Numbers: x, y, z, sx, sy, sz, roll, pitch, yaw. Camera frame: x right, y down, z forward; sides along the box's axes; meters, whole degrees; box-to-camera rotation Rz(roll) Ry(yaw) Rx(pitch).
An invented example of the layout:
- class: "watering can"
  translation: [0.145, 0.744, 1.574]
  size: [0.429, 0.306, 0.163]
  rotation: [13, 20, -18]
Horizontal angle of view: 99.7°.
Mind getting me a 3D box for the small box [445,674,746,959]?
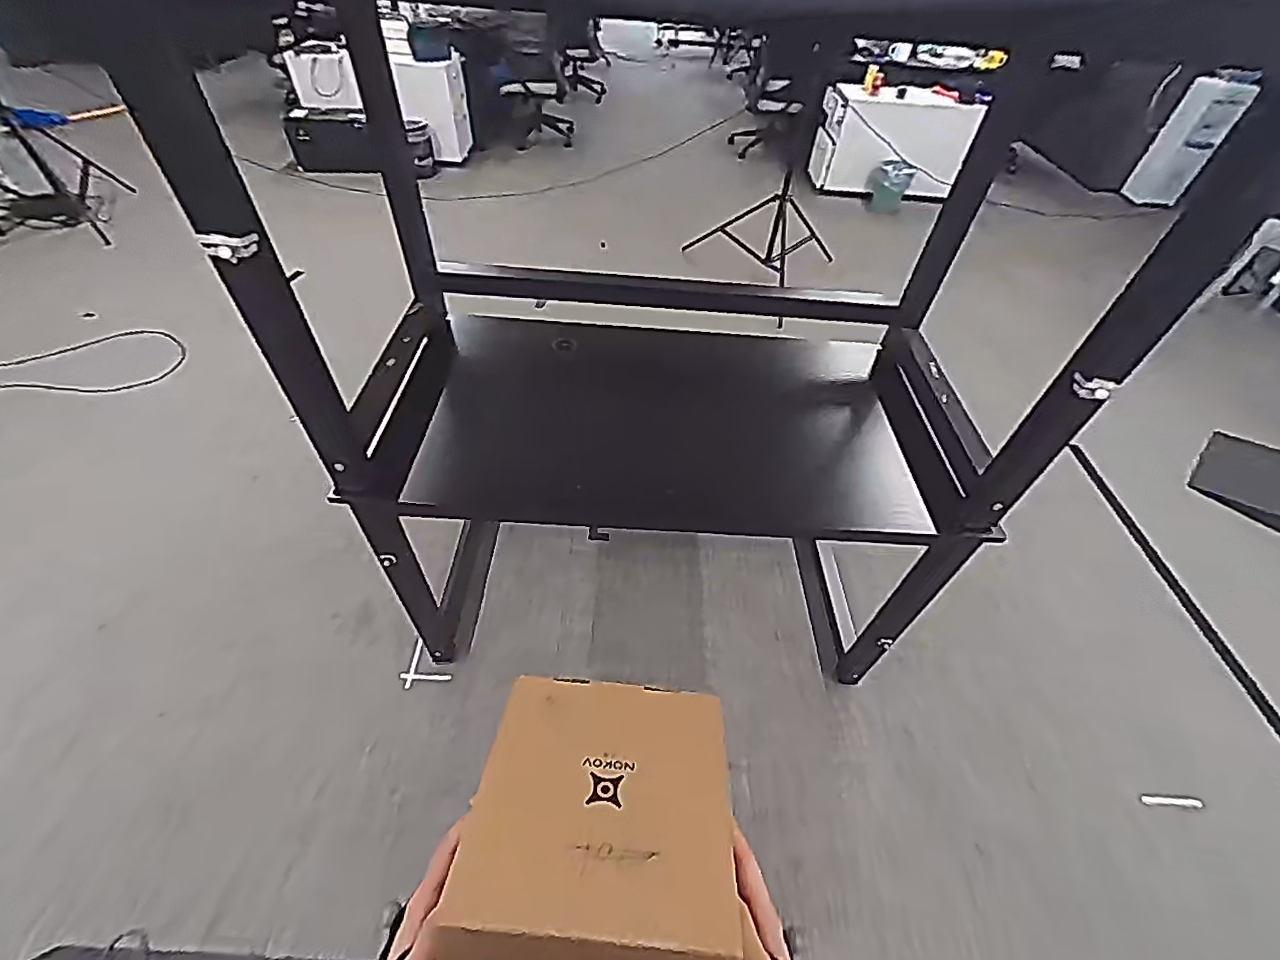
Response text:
- class: "small box"
  translation: [-0.027, 0.275, 0.393]
  size: [0.168, 0.176, 0.179]
  rotation: [5, 26, 1]
